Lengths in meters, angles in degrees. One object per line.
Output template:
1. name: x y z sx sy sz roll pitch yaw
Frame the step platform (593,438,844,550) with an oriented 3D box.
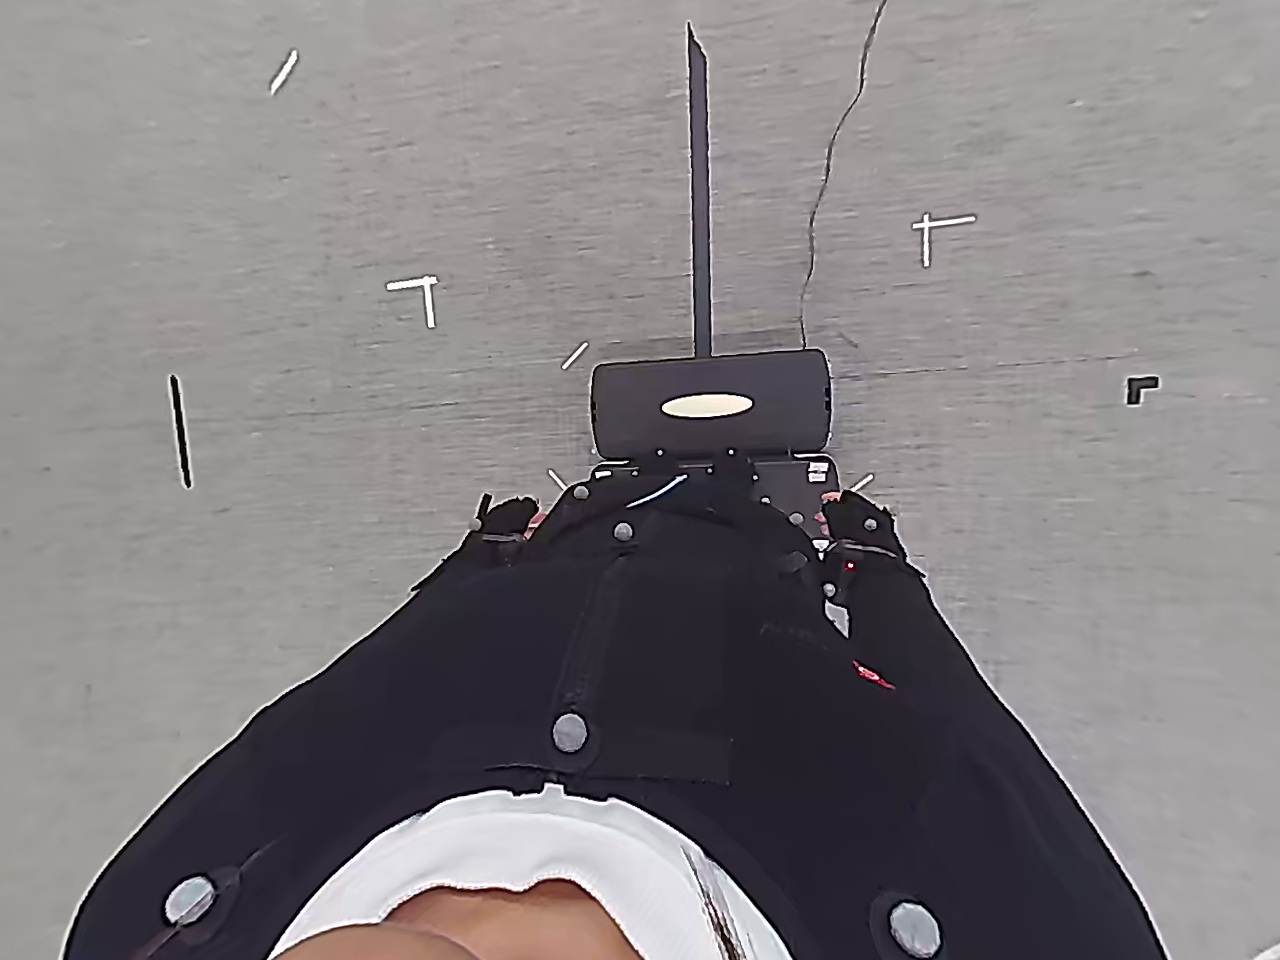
1. step platform: 0.210 0.042 1.519 0.684 0.204 0.286 -3 94 11
